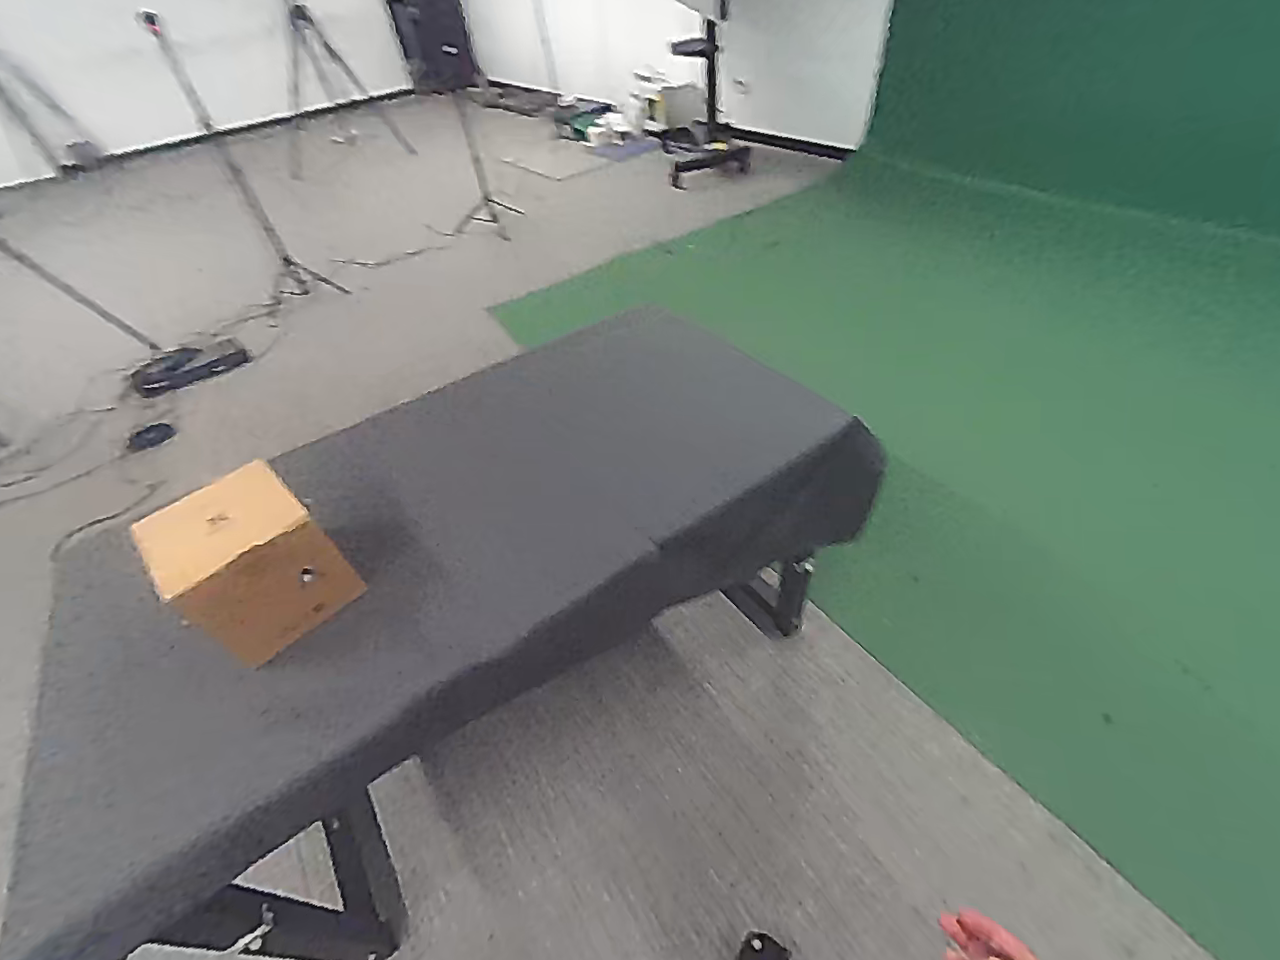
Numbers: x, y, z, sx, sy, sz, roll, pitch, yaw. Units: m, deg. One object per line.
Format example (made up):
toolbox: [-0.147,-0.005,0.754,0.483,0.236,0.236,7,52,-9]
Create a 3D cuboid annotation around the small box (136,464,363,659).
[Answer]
small box: [-0.517,0.114,0.735,0.179,0.176,0.168,30,54,33]
